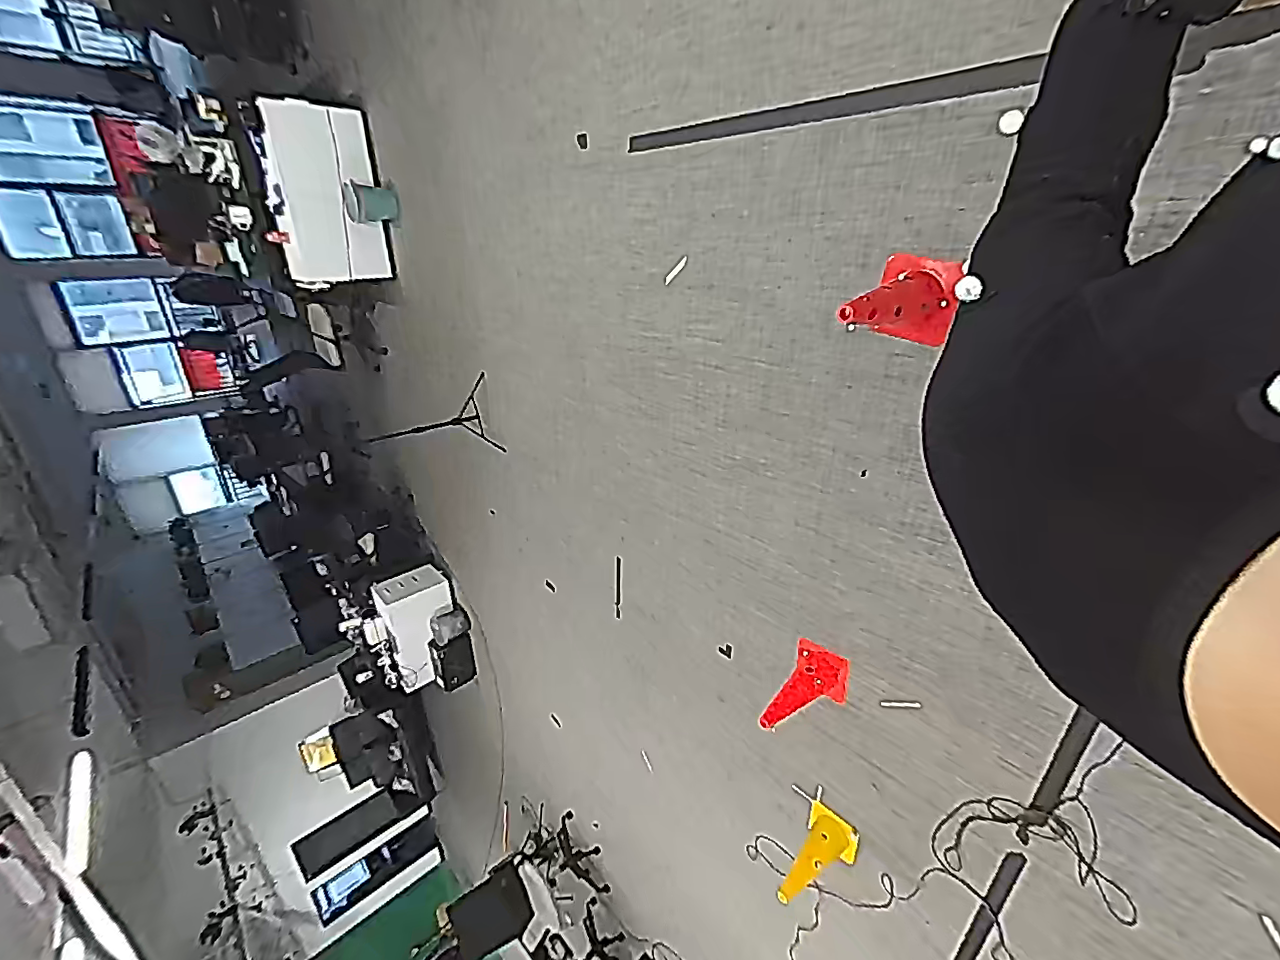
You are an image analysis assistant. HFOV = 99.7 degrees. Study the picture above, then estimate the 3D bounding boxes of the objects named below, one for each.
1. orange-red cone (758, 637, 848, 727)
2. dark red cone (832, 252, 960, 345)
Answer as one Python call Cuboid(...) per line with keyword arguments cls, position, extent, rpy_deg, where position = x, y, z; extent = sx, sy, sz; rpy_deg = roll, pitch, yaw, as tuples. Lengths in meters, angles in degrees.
Cuboid(cls="orange-red cone", position=(0.532, 0.738, 1.866), extent=(0.198, 0.360, 0.199), rpy_deg=(23, 125, 45))
Cuboid(cls="dark red cone", position=(0.558, -0.411, 1.258), extent=(0.201, 0.394, 0.202), rpy_deg=(30, 128, 38))
